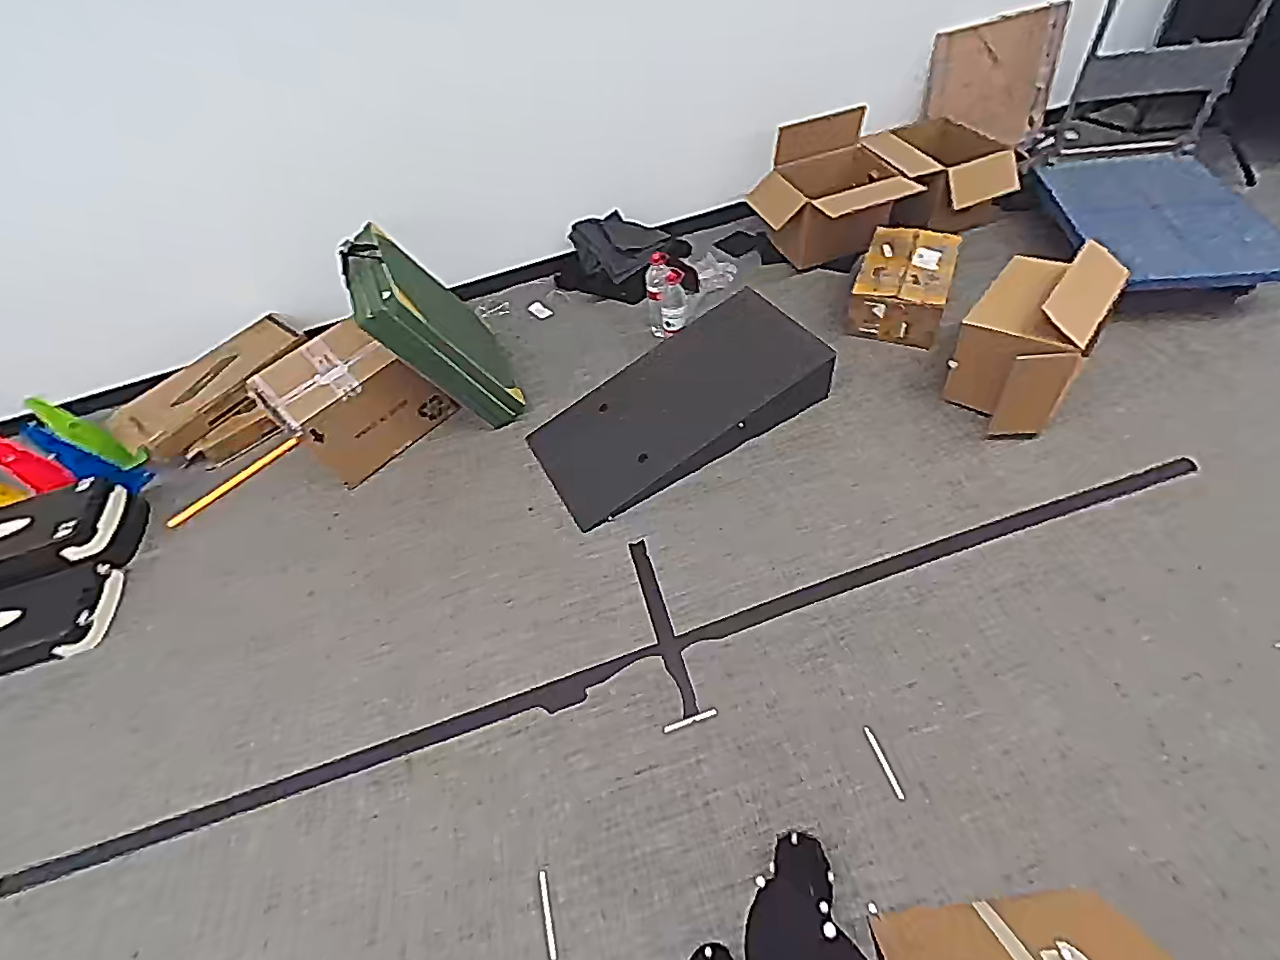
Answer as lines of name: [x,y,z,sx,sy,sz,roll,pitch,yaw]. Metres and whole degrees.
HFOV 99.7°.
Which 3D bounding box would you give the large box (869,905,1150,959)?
large box: [0.483,0.735,0.551,0.320,0.408,0.320,-10,78,6]
